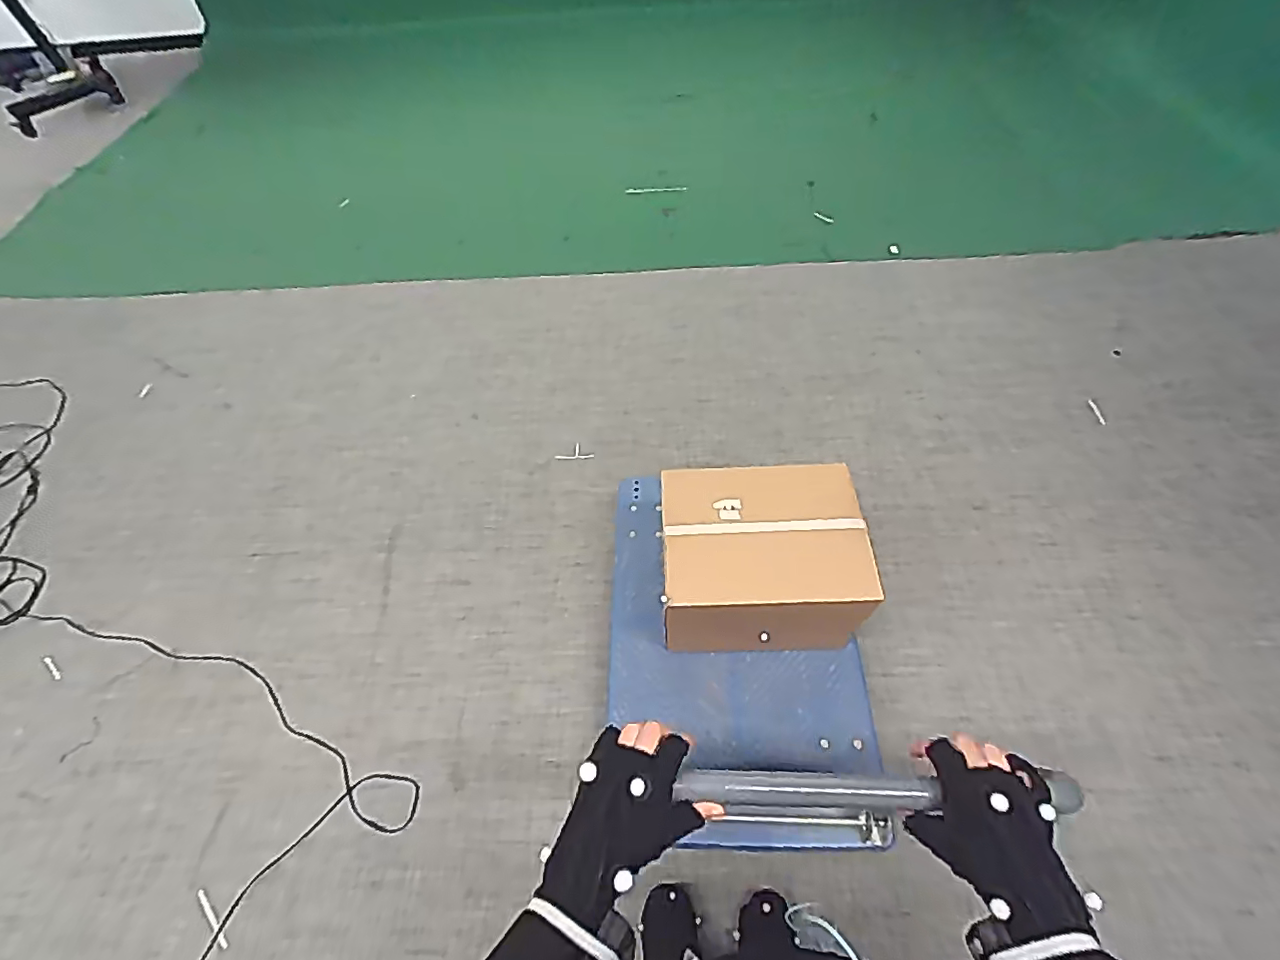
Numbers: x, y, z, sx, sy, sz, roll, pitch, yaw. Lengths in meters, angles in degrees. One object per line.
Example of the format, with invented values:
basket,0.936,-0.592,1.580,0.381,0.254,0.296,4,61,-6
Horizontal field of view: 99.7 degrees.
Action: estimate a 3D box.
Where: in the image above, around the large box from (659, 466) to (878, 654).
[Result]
large box,0.254,0.190,1.213,0.408,0.320,0.320,-3,55,3
